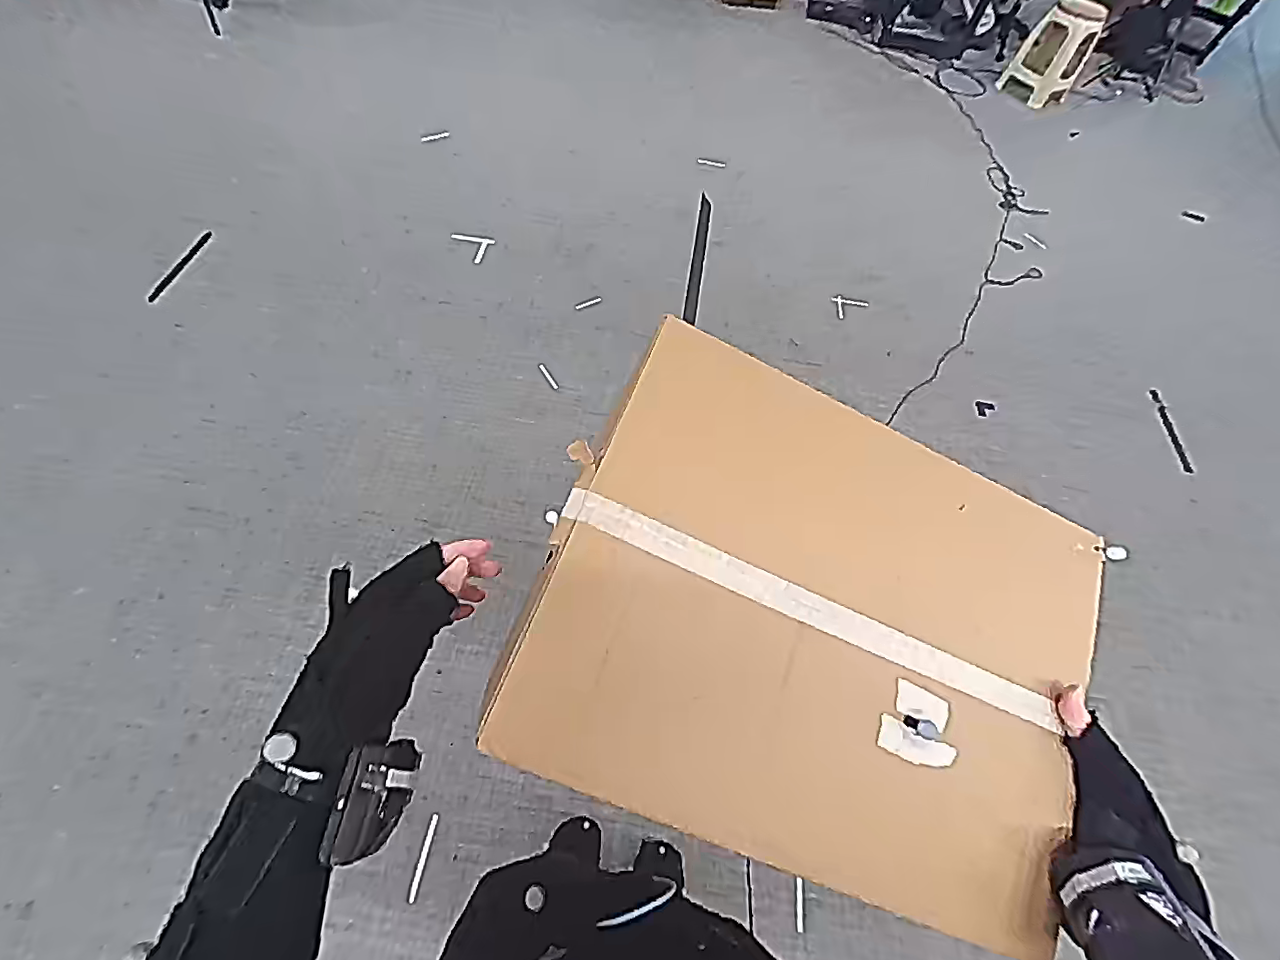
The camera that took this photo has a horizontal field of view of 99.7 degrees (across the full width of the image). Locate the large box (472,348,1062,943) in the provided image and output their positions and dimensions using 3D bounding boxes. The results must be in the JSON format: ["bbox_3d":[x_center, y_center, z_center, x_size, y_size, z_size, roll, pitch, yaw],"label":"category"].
[{"bbox_3d":[0.093,0.142,0.531,0.408,0.320,0.320,24,74,-7],"label":"large box"}]
